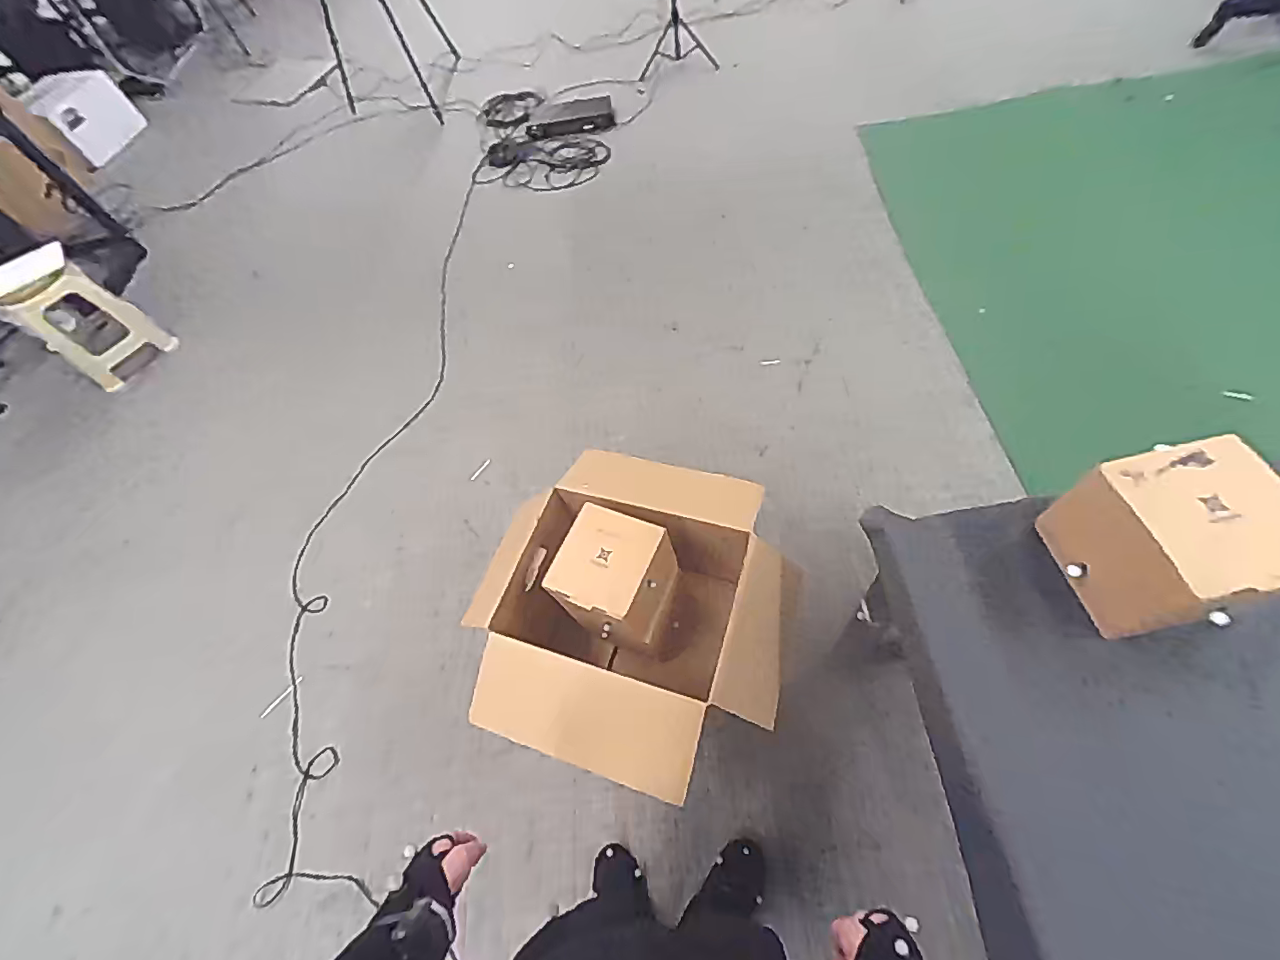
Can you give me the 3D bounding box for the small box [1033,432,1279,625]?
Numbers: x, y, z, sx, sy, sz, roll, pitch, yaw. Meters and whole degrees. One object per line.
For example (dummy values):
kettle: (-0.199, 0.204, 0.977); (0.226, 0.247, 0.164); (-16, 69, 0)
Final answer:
small box: (0.645, 0.070, 0.669); (0.168, 0.176, 0.179); (-12, 60, 2)
